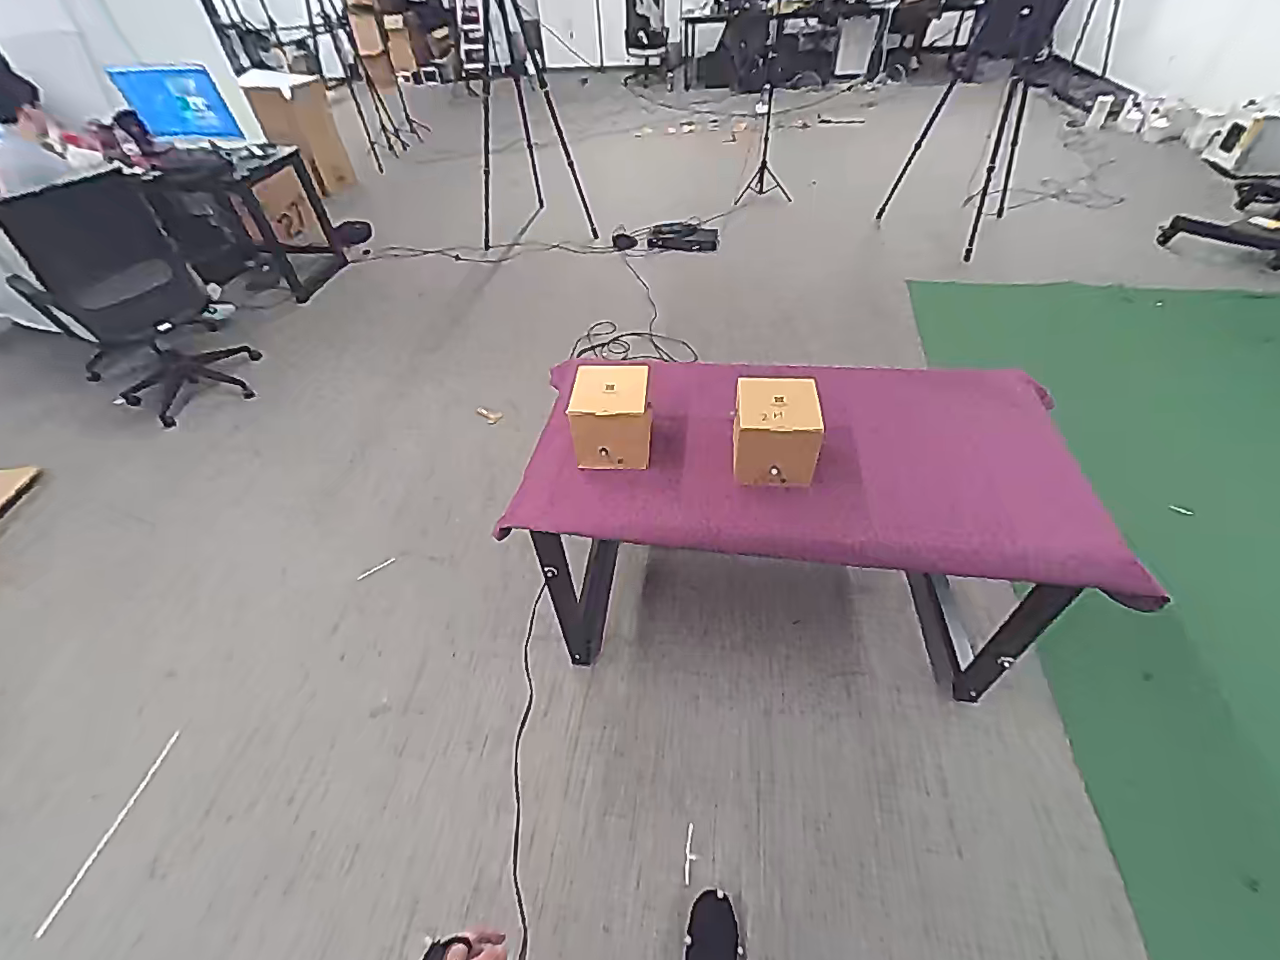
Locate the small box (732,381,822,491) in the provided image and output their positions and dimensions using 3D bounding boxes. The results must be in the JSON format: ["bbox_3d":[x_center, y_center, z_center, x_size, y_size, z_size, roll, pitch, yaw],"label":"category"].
[{"bbox_3d":[0.290,-0.097,1.183,0.168,0.176,0.179,2,46,7],"label":"small box"}]

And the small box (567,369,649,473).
[{"bbox_3d":[-0.065,-0.137,1.252,0.168,0.176,0.179,1,46,4],"label":"small box"}]
